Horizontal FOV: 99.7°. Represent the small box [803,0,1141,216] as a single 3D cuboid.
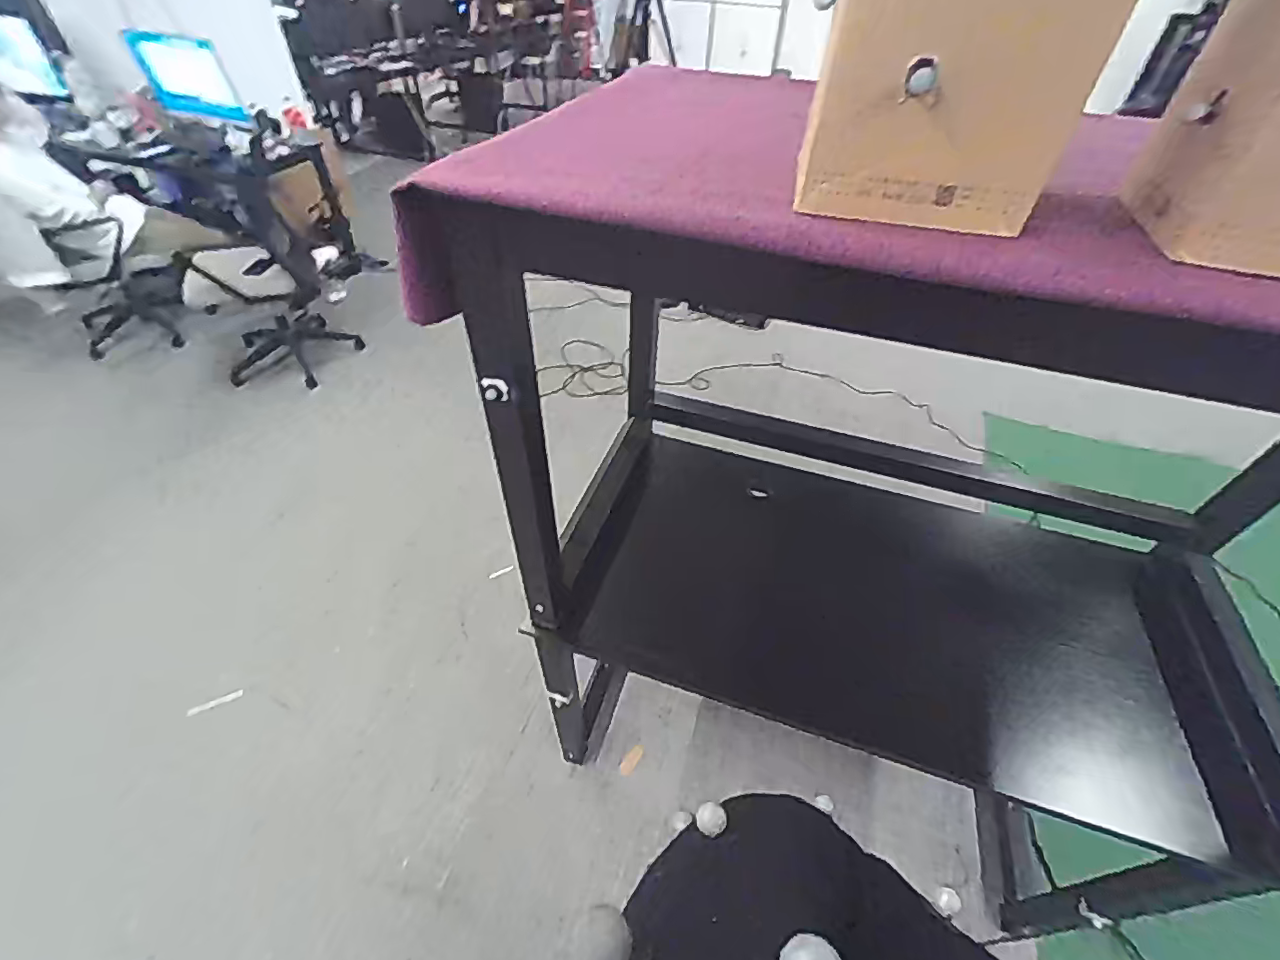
[{"bbox_3d":[0.222,-0.310,0.390,0.168,0.176,0.179,13,46,9],"label":"small box"}]
